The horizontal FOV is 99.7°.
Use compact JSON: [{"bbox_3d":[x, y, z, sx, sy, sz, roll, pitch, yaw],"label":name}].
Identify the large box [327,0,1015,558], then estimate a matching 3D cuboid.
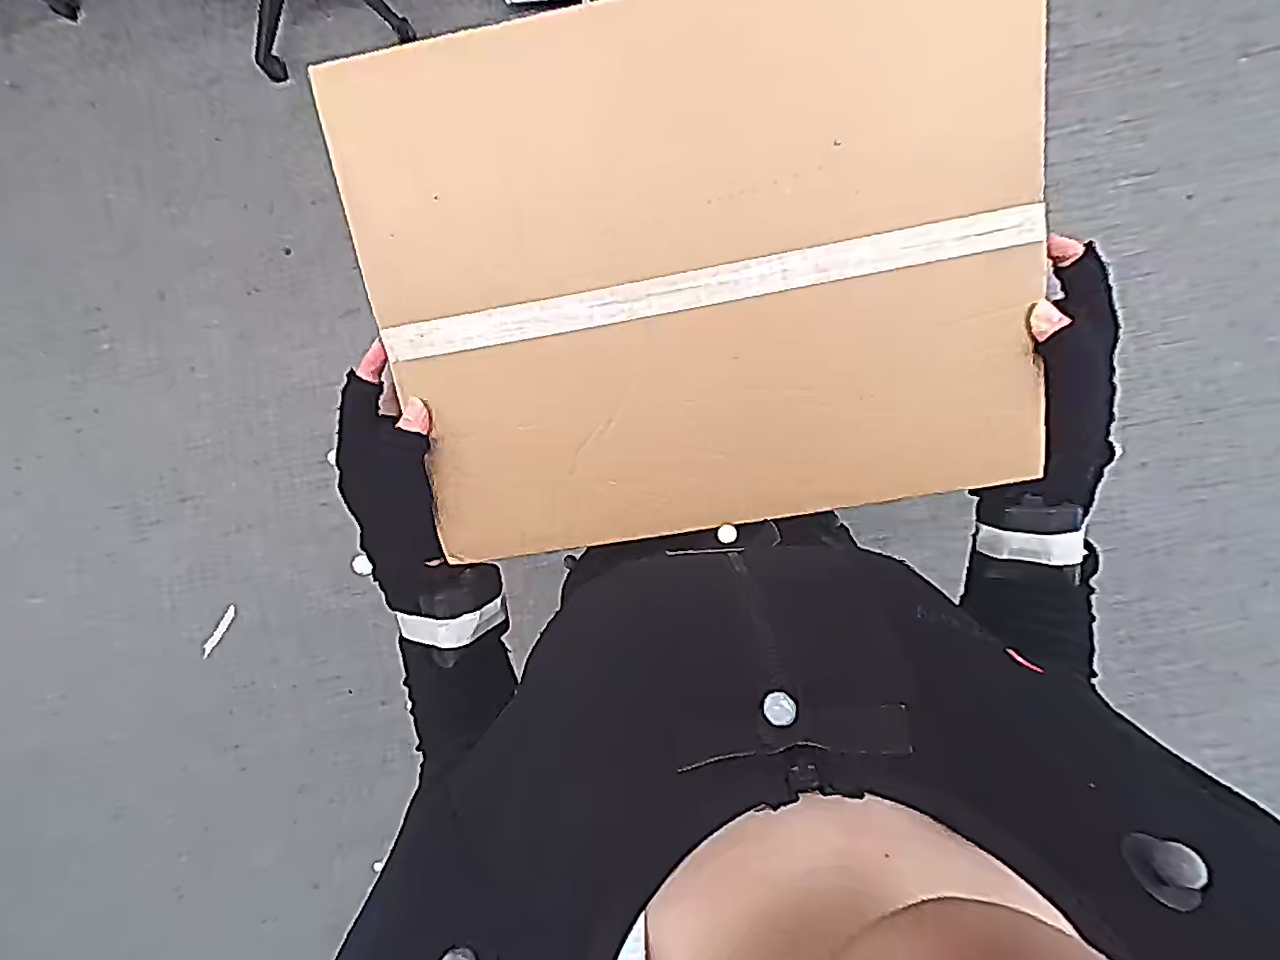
[{"bbox_3d":[0.038,-0.159,0.487,0.408,0.320,0.320,-9,104,4],"label":"large box"}]
